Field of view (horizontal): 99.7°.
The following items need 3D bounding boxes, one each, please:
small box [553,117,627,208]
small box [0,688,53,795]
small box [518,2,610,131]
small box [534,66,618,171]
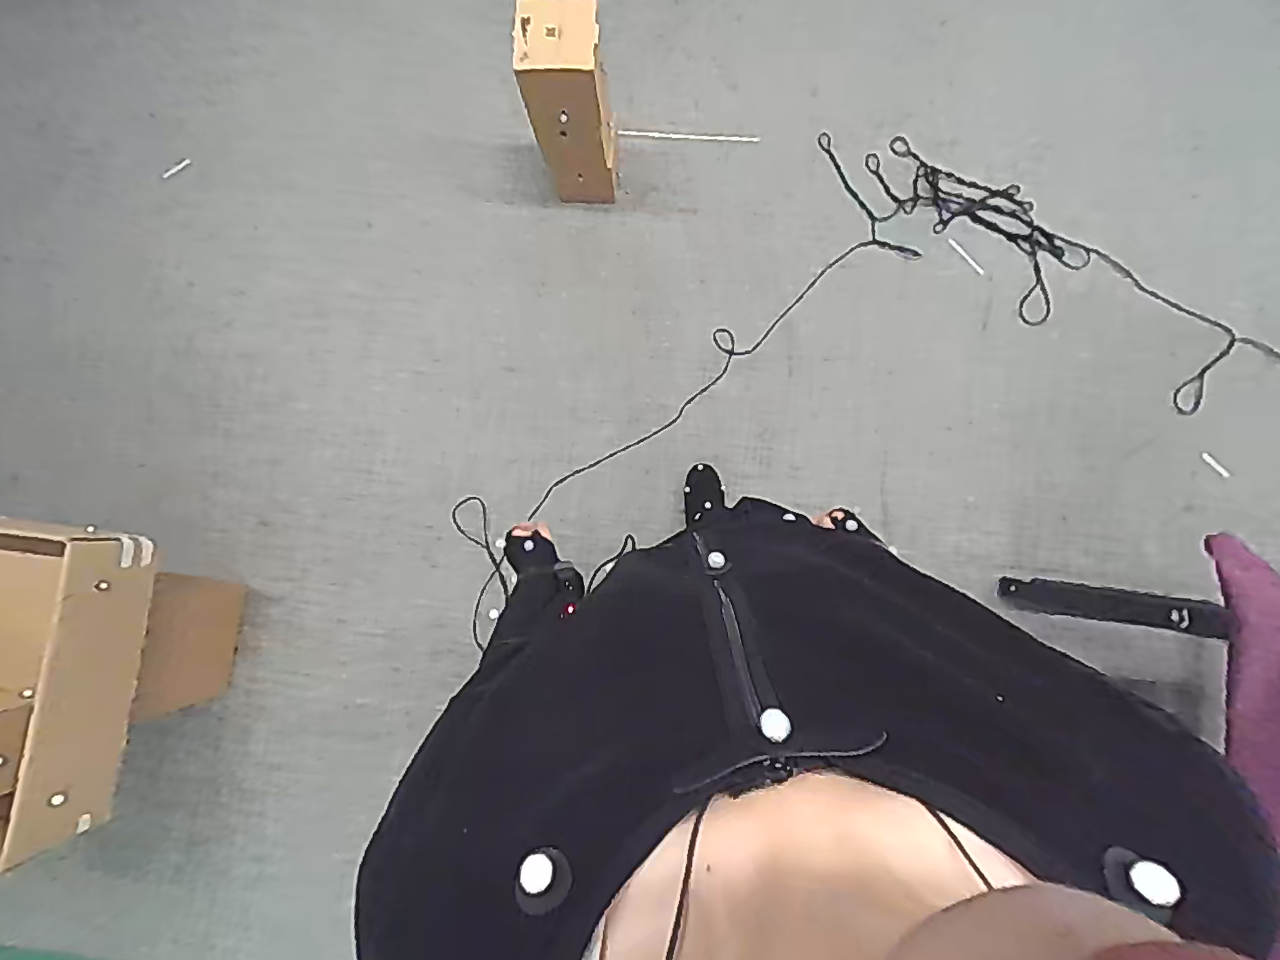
[{"bbox_3d":[-0.138,-0.906,1.548,0.179,0.176,0.168,5,85,3],"label":"small box"},{"bbox_3d":[-1.306,0.513,1.039,0.168,0.176,0.179,8,84,3],"label":"small box"},{"bbox_3d":[-0.162,-0.923,1.221,0.179,0.176,0.168,3,85,3],"label":"small box"},{"bbox_3d":[-0.157,-0.923,1.385,0.179,0.176,0.168,5,86,4],"label":"small box"}]
